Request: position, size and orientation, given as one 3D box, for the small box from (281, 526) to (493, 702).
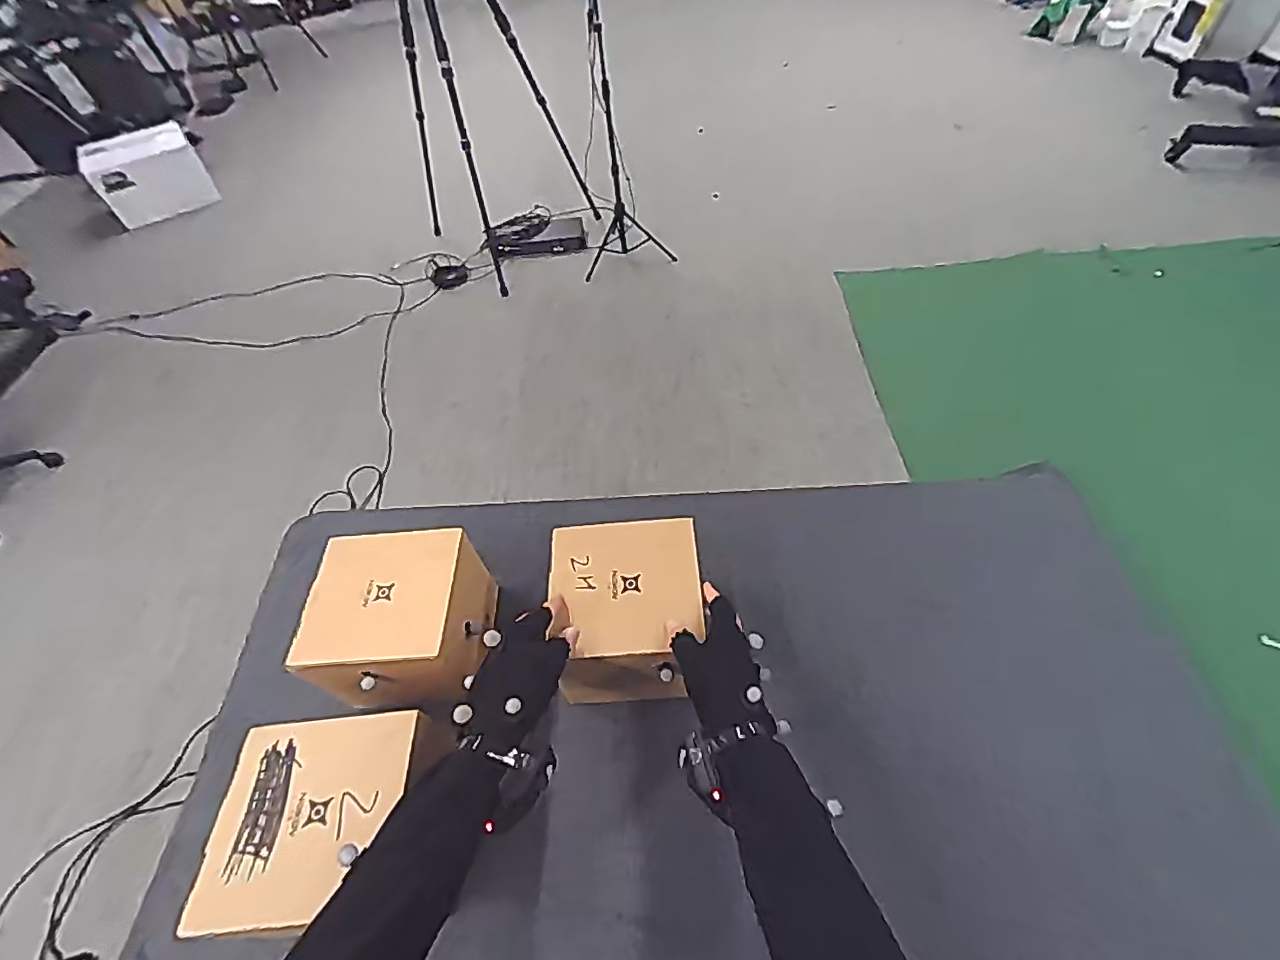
[{"bbox_3d":[-0.302,0.176,0.696,0.179,0.176,0.168,-5,53,3],"label":"small box"}]
